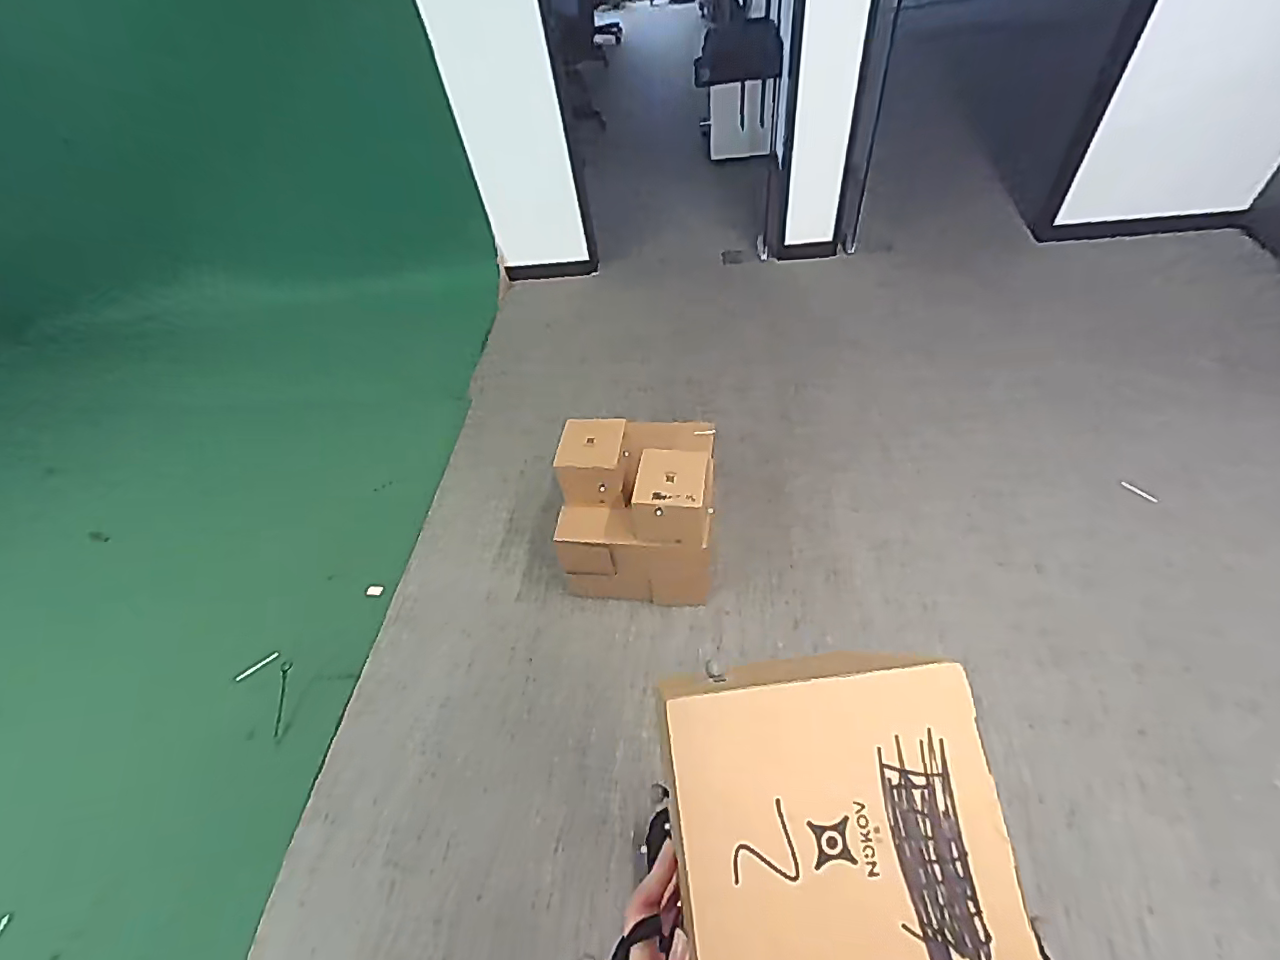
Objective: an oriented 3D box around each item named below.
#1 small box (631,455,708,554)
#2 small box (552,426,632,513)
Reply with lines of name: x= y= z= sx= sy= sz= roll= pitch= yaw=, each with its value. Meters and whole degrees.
small box: x=0.080 y=0.059 z=1.348 sx=0.168 sy=0.176 sz=0.179 roll=3 pitch=49 yaw=11
small box: x=-0.120 y=-0.027 z=1.461 sx=0.168 sy=0.176 sz=0.179 roll=1 pitch=48 yaw=10
